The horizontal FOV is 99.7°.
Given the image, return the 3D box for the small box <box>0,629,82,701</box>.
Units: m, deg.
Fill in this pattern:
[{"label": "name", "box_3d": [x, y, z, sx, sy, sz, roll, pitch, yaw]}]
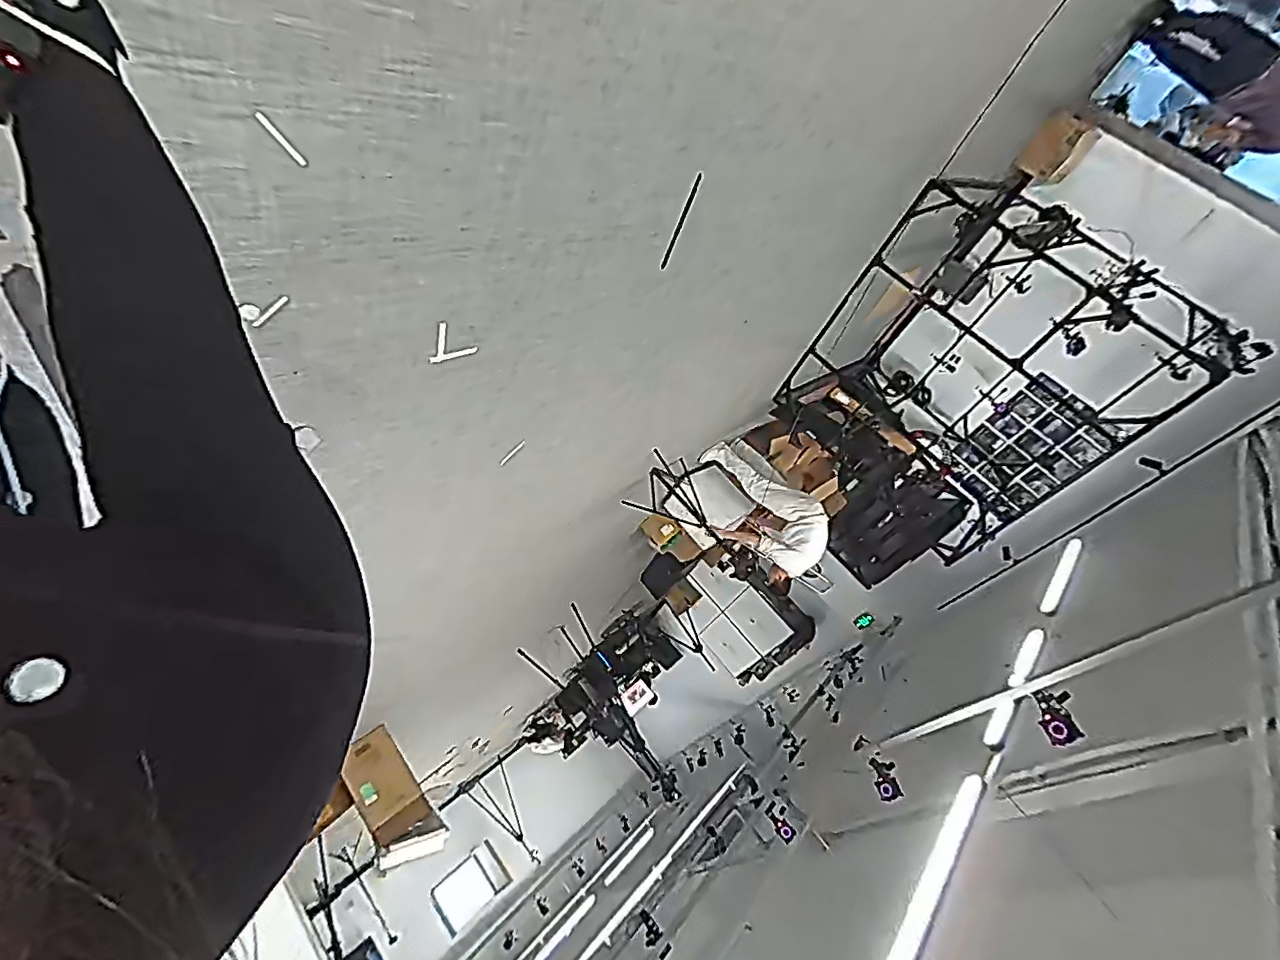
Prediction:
[{"label": "small box", "box_3d": [-1.699, 0.546, 1.502, 0.168, 0.176, 0.179, -28, 156, -41]}]
